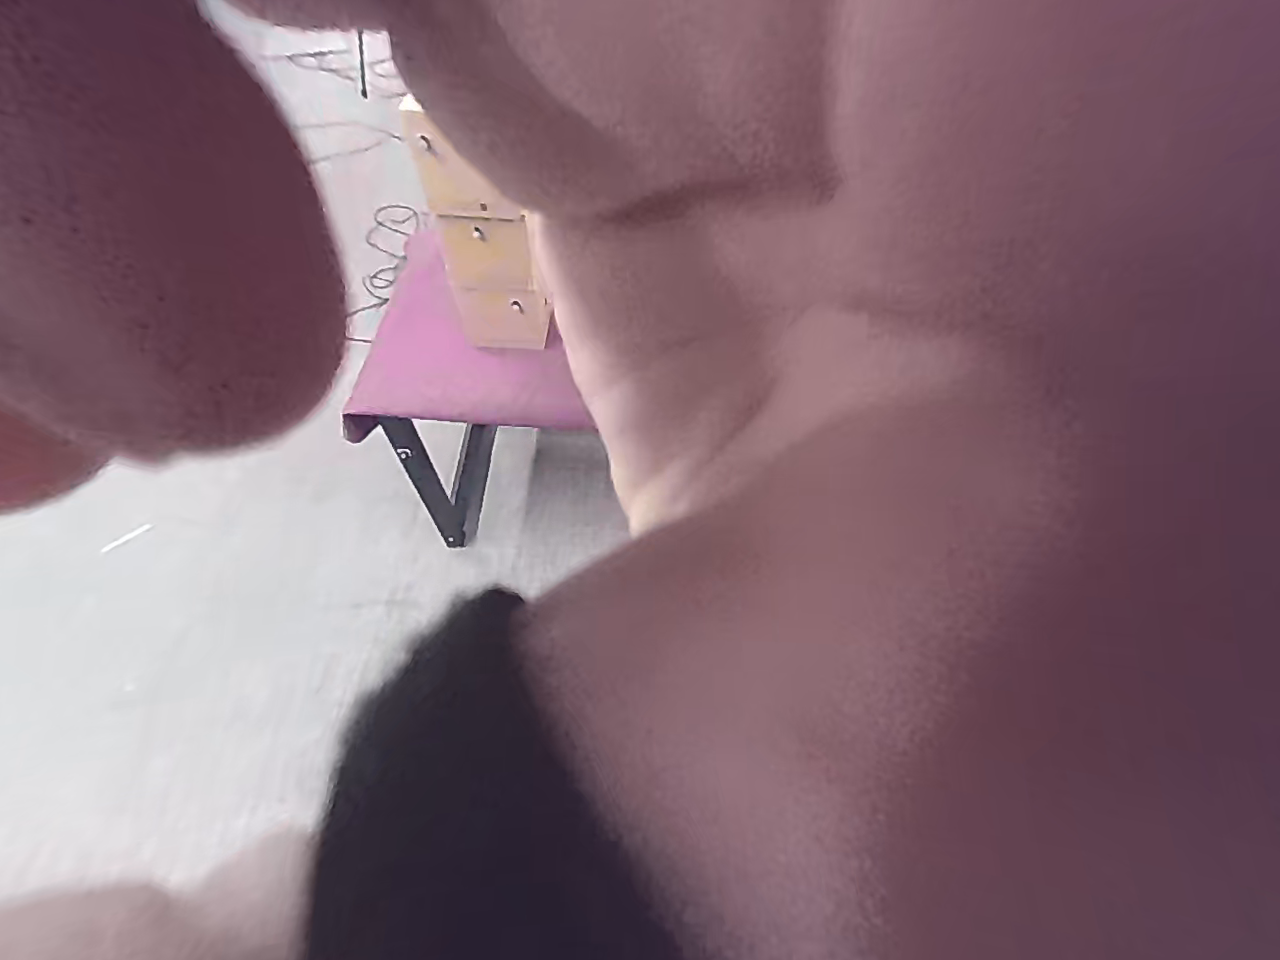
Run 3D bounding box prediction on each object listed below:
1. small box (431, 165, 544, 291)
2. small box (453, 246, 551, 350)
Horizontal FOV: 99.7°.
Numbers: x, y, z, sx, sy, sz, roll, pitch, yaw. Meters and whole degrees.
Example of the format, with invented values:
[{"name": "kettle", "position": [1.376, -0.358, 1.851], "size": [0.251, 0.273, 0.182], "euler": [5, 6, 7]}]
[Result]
[{"name": "small box", "position": [-0.293, -0.501, 1.088], "size": [0.179, 0.176, 0.168], "euler": [3, 57, -1]}, {"name": "small box", "position": [-0.300, -0.414, 1.224], "size": [0.179, 0.176, 0.168], "euler": [3, 56, -1]}]
